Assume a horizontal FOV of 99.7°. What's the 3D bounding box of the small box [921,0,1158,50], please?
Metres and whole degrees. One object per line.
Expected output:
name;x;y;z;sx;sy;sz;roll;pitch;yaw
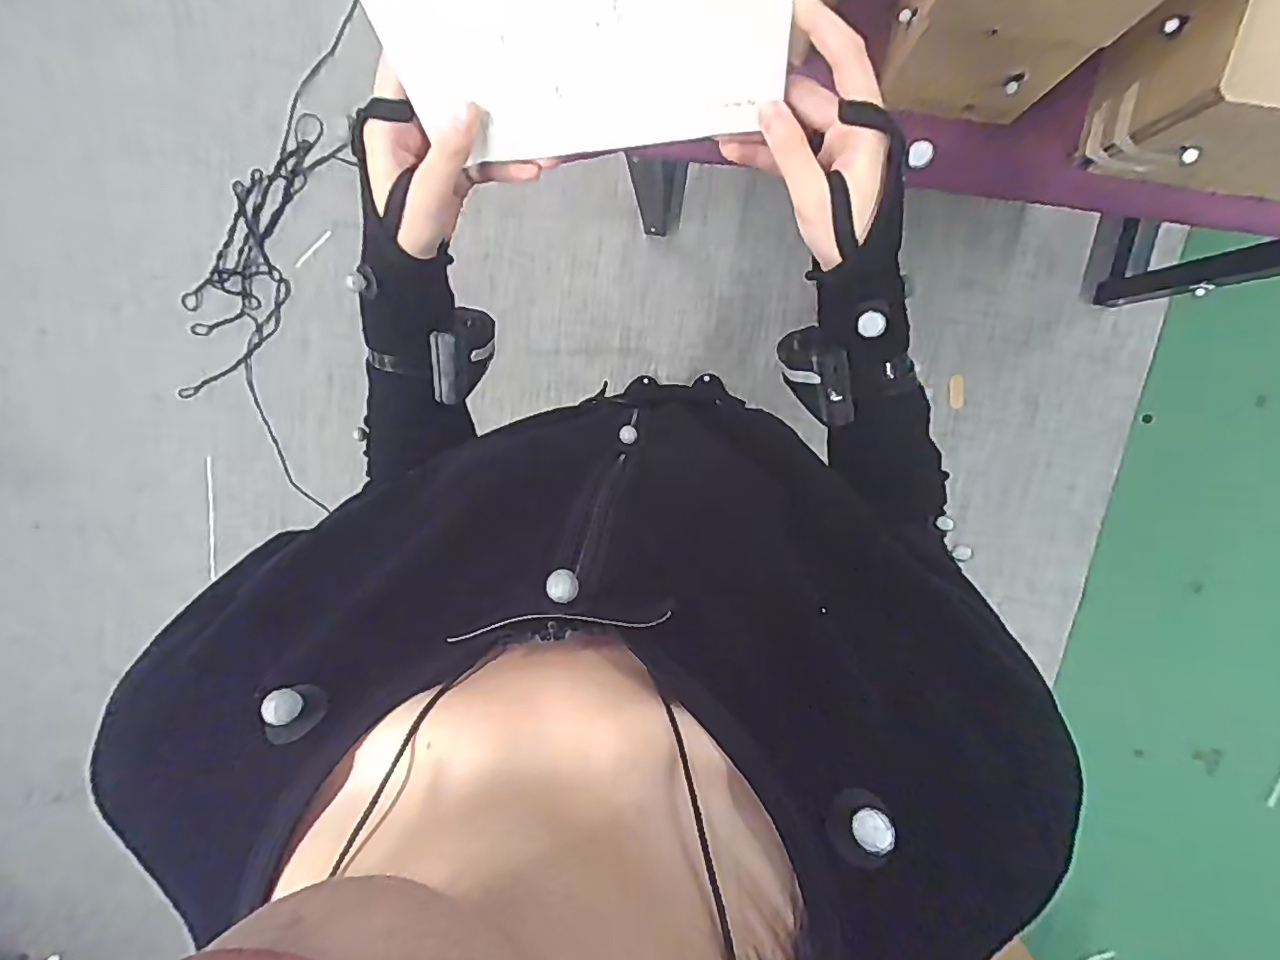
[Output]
small box;0.357;-0.480;0.419;0.179;0.176;0.168;11;99;3
